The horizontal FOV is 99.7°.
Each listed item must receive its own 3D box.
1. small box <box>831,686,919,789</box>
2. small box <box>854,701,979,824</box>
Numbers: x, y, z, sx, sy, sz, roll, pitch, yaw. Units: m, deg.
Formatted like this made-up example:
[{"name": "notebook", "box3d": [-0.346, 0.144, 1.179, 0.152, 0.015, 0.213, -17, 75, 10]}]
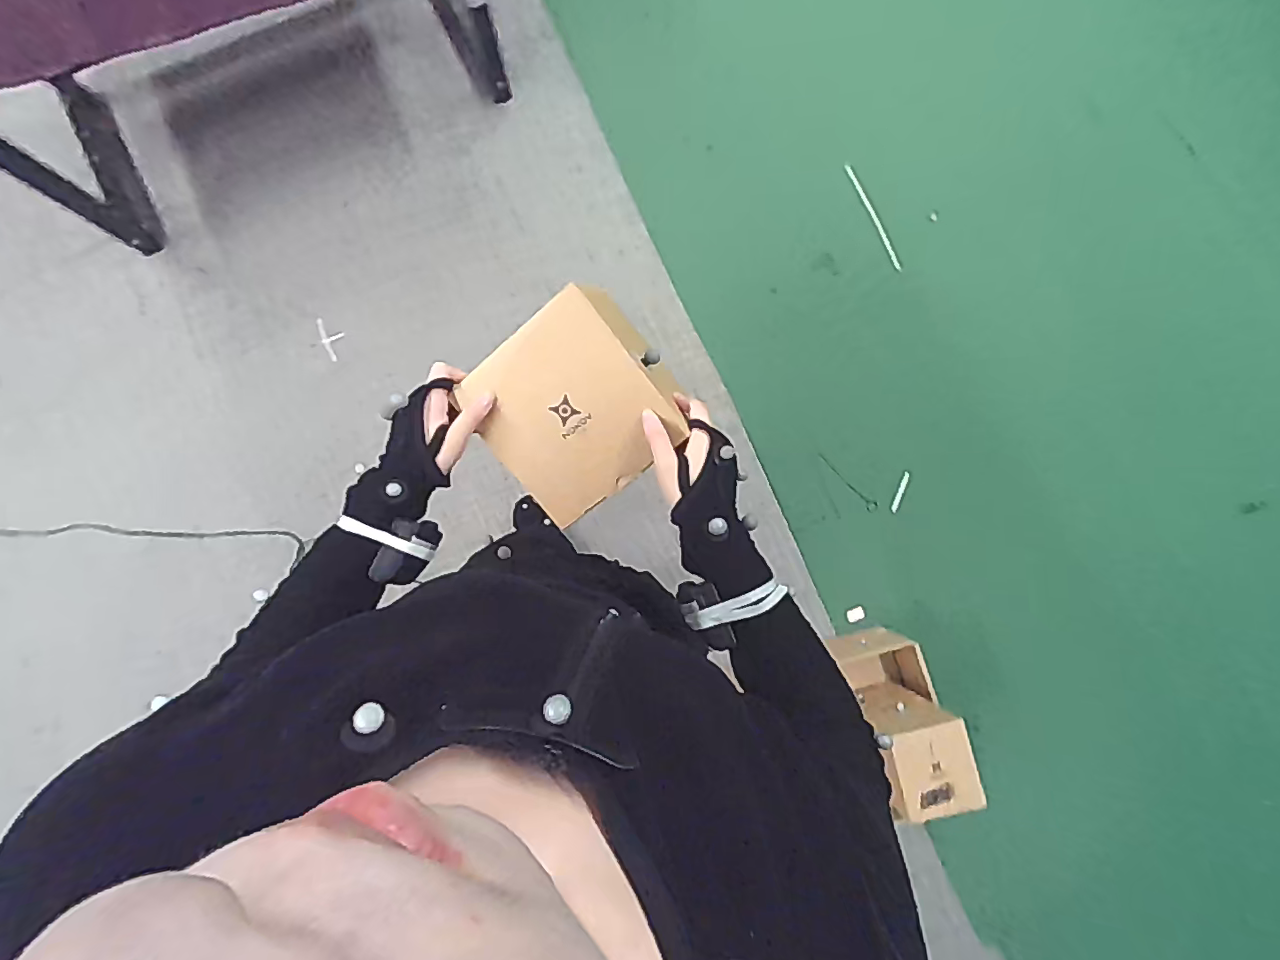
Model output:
[{"name": "small box", "box3d": [0.601, 0.634, 1.357, 0.168, 0.176, 0.179, -13, 84, -2]}, {"name": "small box", "box3d": [0.601, 0.613, 1.194, 0.168, 0.176, 0.179, -12, 83, -2]}]
